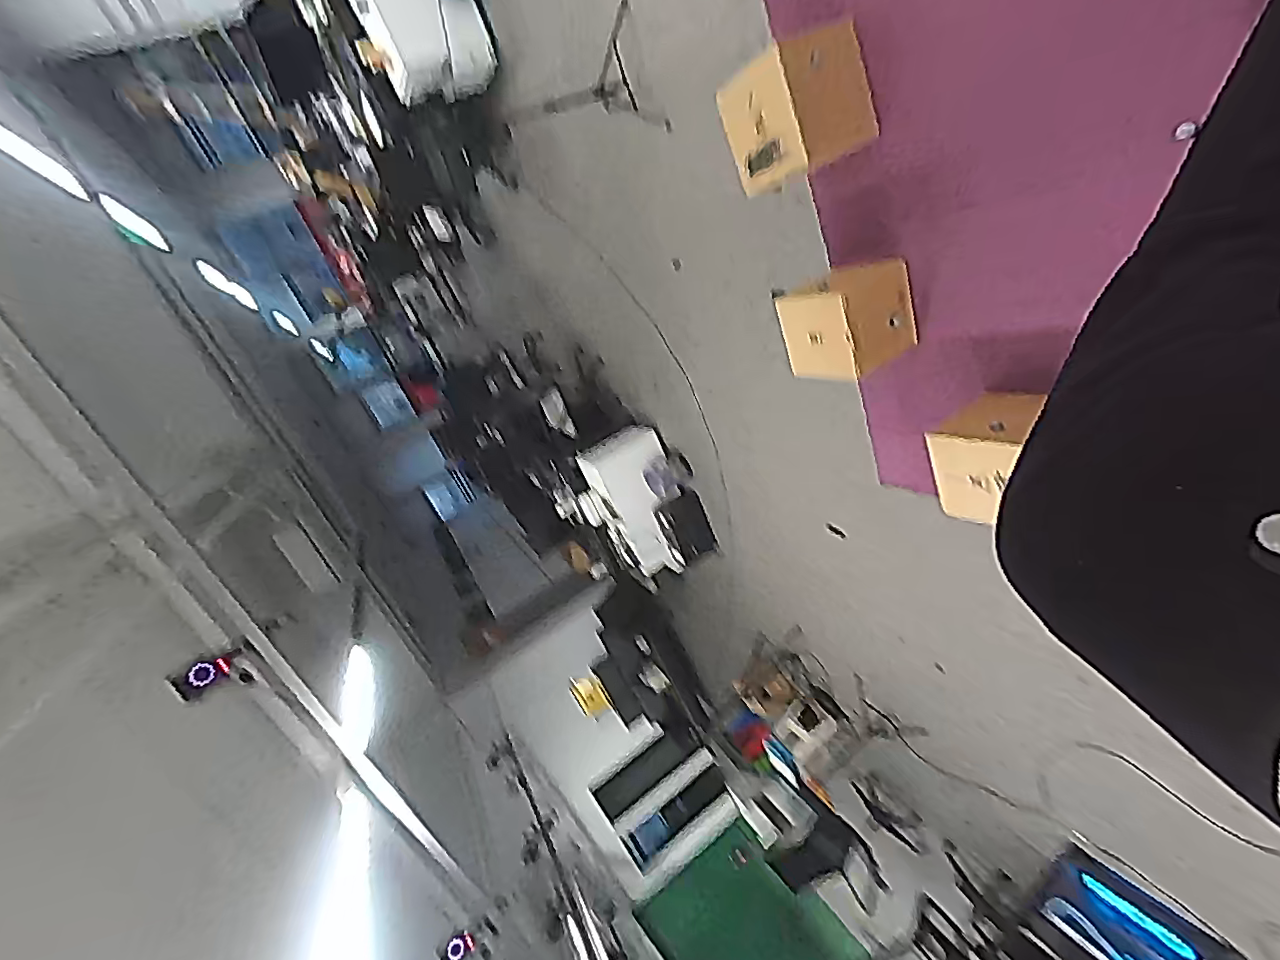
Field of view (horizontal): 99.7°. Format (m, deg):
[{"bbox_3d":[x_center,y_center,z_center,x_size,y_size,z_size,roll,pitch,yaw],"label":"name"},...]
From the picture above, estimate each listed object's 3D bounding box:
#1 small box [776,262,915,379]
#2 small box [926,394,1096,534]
[{"bbox_3d":[0.405,-0.313,1.069,0.179,0.176,0.168,25,142,60],"label":"small box"},{"bbox_3d":[0.632,-0.037,0.917,0.179,0.176,0.168,22,140,64],"label":"small box"}]
